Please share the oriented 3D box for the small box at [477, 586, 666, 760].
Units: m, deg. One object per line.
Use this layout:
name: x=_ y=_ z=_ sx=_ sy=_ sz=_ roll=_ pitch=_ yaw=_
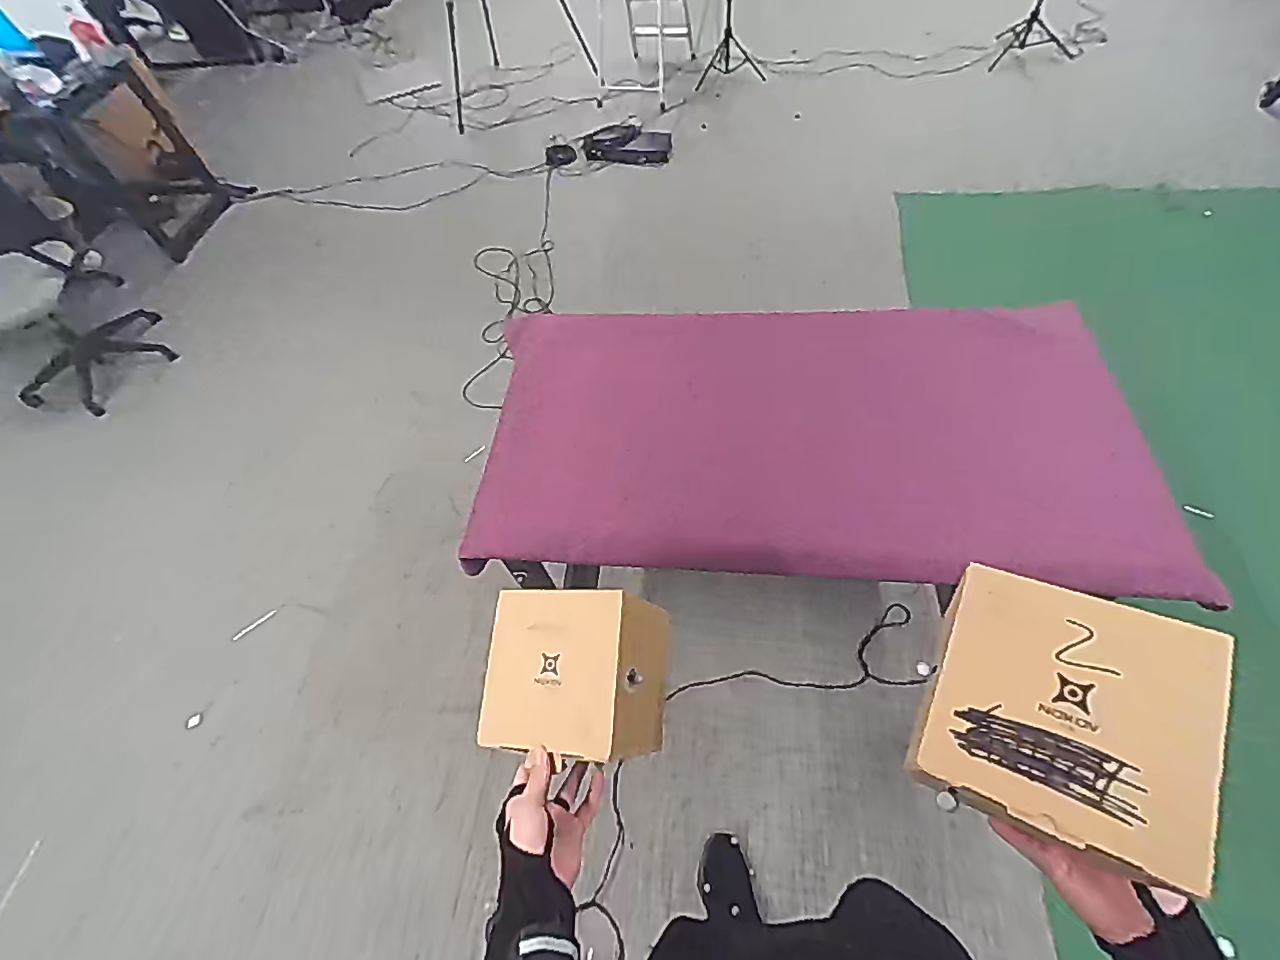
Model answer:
small box: x=-0.072 y=0.235 z=0.672 sx=0.168 sy=0.176 sz=0.179 roll=-4 pitch=67 yaw=21
